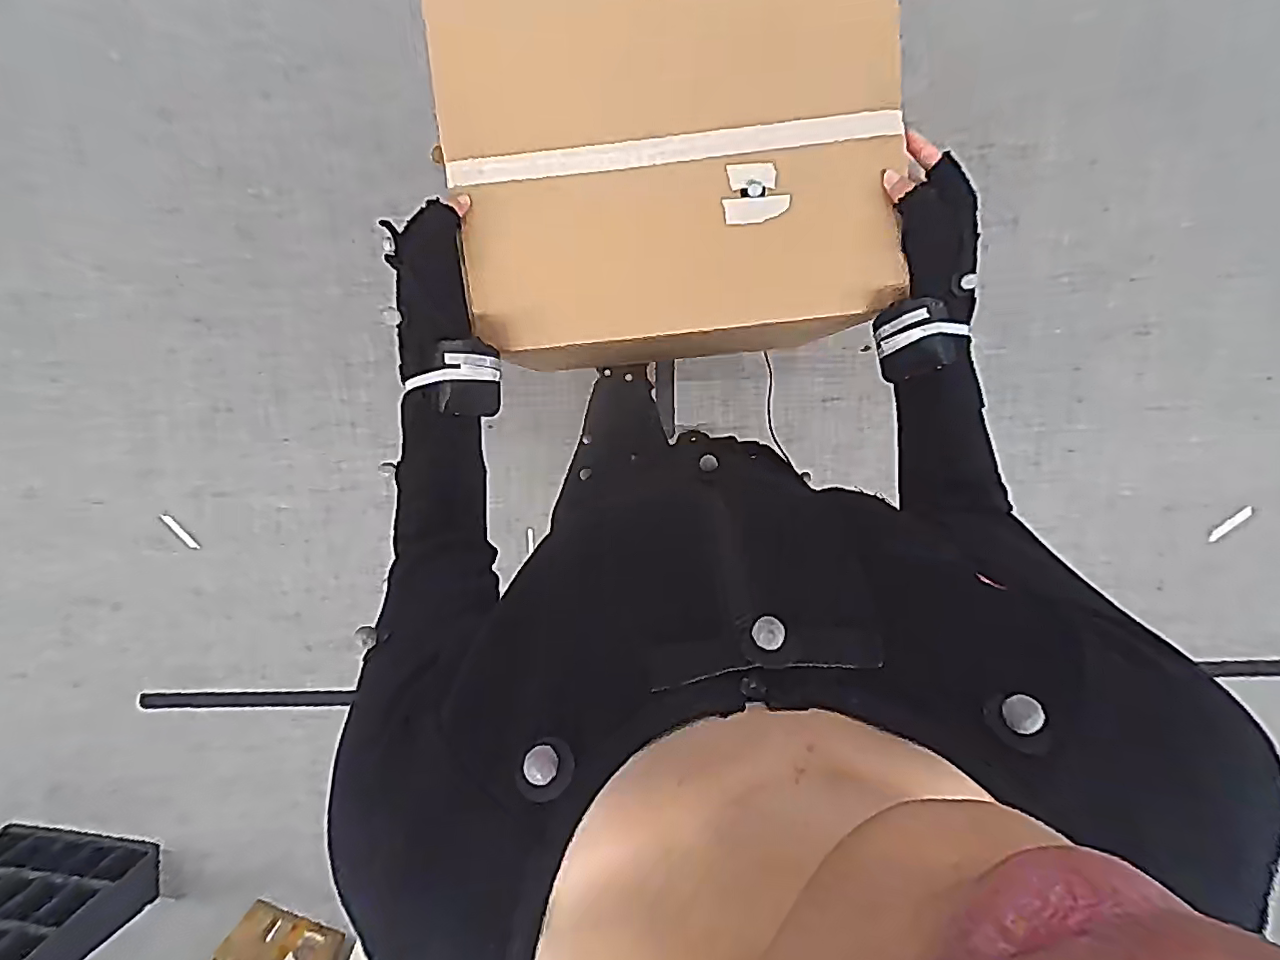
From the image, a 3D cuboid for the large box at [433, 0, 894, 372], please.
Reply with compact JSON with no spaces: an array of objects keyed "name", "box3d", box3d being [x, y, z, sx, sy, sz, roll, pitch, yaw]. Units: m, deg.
[{"name":"large box","box3d":[0.025,-0.318,0.646,0.408,0.320,0.320,-7,98,0]}]
